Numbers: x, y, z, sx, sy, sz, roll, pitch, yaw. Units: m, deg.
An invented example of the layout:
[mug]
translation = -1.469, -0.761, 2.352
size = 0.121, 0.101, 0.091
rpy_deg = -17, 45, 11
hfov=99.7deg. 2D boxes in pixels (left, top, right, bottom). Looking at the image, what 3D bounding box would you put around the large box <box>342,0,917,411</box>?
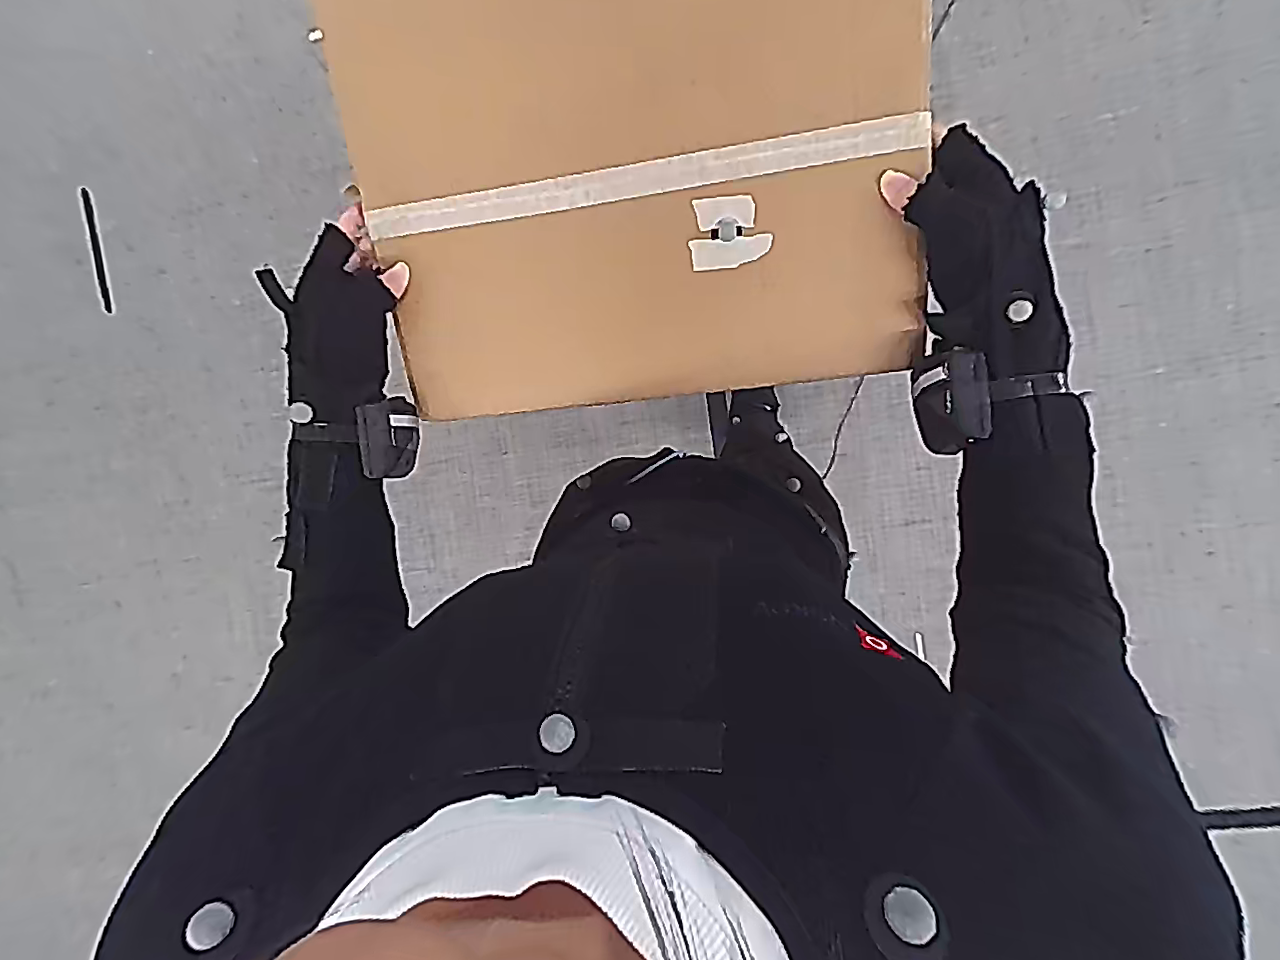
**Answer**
[large box]
translation = 0.011, -0.269, 0.545
size = 0.408, 0.320, 0.320
rpy_deg = -6, 107, 8
